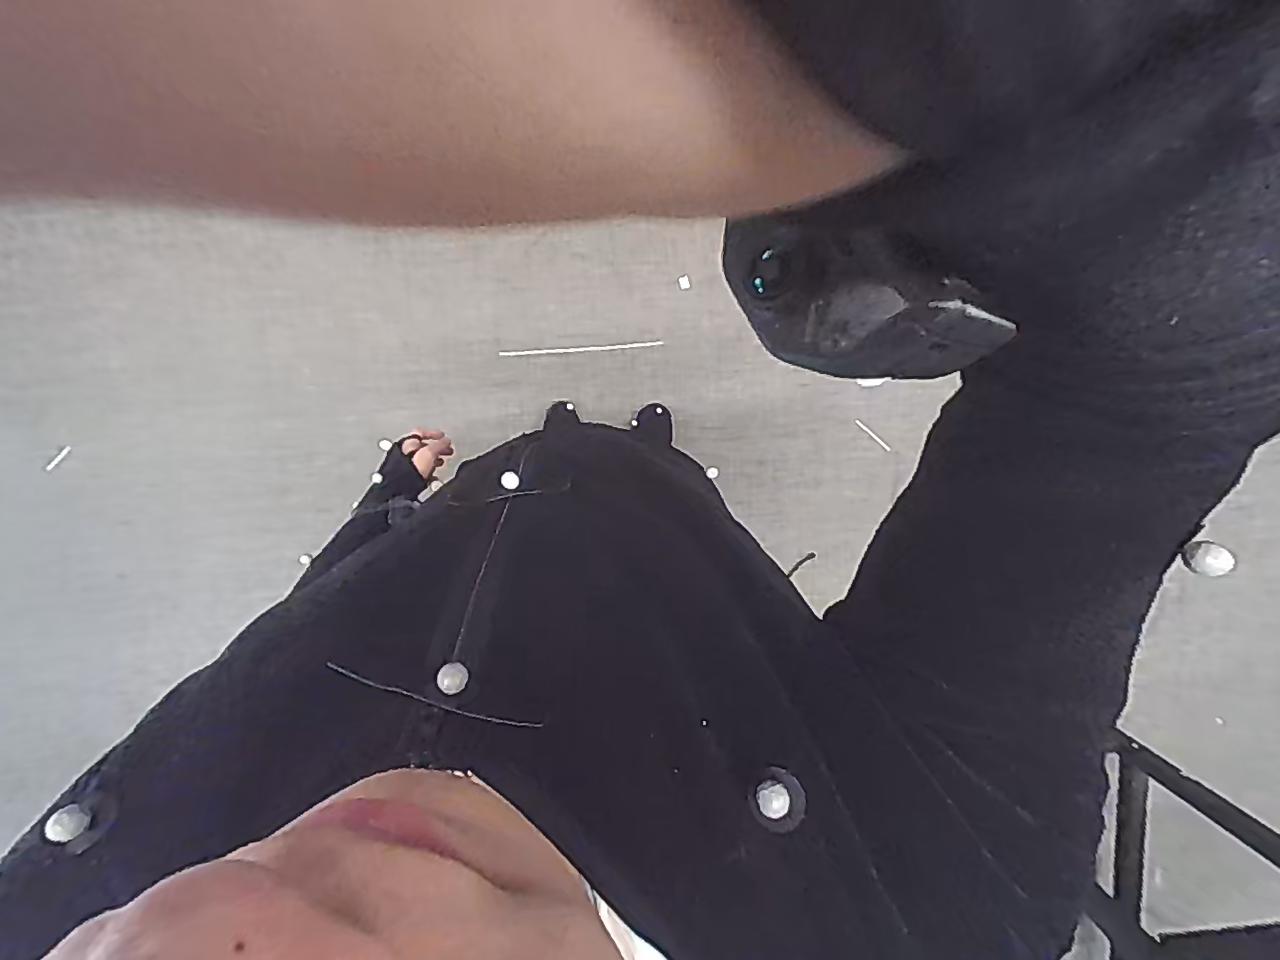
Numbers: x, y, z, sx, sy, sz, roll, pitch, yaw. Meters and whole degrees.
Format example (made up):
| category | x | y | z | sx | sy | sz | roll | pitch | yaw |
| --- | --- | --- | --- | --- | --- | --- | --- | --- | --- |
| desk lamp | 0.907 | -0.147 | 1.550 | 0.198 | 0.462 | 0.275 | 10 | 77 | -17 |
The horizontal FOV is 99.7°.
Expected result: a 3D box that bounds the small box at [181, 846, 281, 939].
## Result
| category | x | y | z | sx | sy | sz | roll | pitch | yaw |
| --- | --- | --- | --- | --- | --- | --- | --- | --- | --- |
| small box | -1.221 | 1.244 | 1.633 | 0.179 | 0.176 | 0.168 | -4 | 98 | -2 |
